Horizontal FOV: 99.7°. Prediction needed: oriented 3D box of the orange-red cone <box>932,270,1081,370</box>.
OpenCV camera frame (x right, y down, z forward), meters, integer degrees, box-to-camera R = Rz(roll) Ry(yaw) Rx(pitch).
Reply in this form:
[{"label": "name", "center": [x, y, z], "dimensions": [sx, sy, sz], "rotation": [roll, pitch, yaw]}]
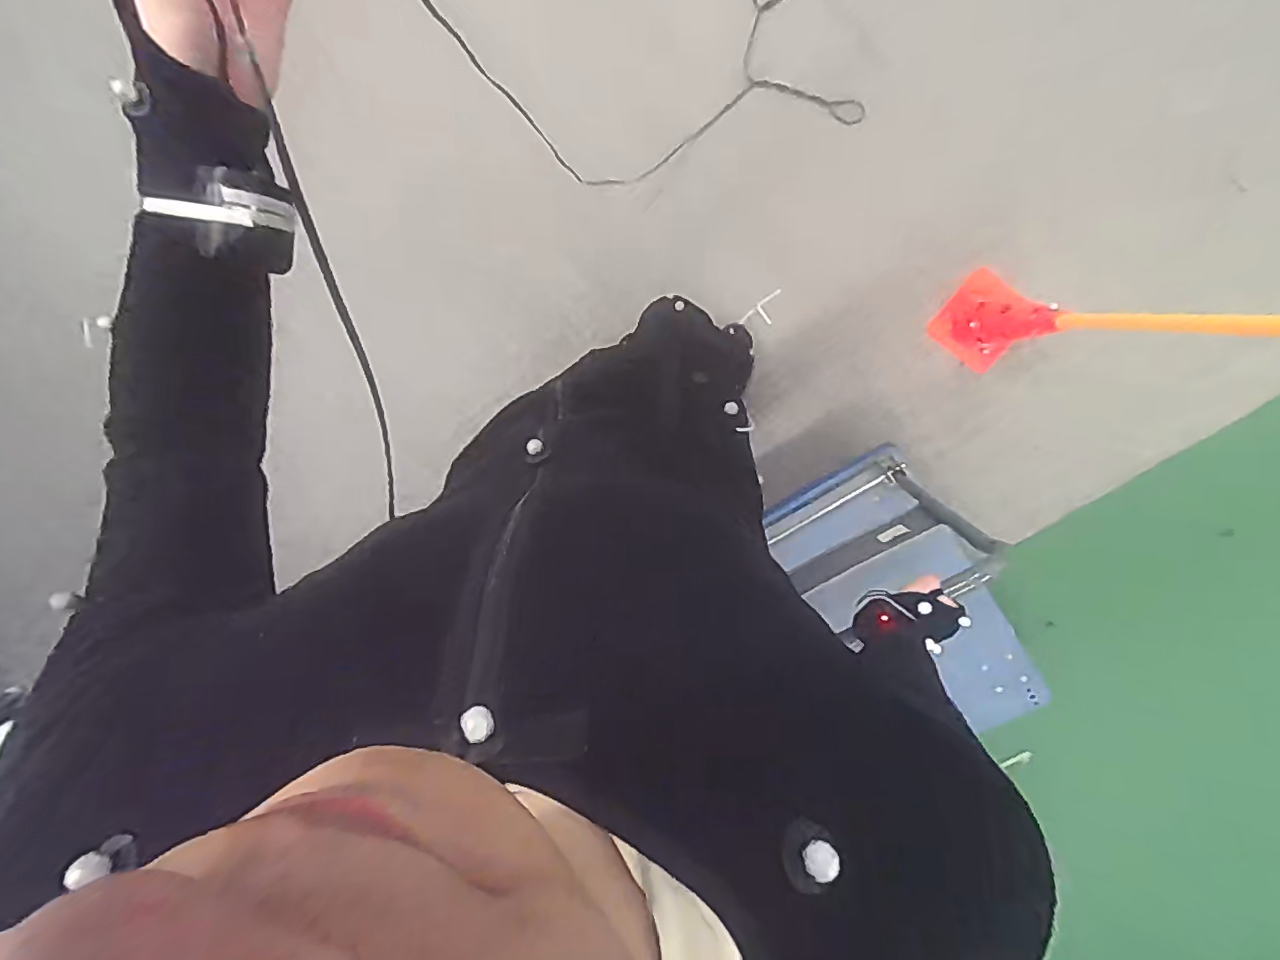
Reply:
[{"label": "orange-red cone", "center": [0.866, -0.363, 1.227], "dimensions": [0.198, 0.360, 0.199], "rotation": [37, 106, -5]}]
